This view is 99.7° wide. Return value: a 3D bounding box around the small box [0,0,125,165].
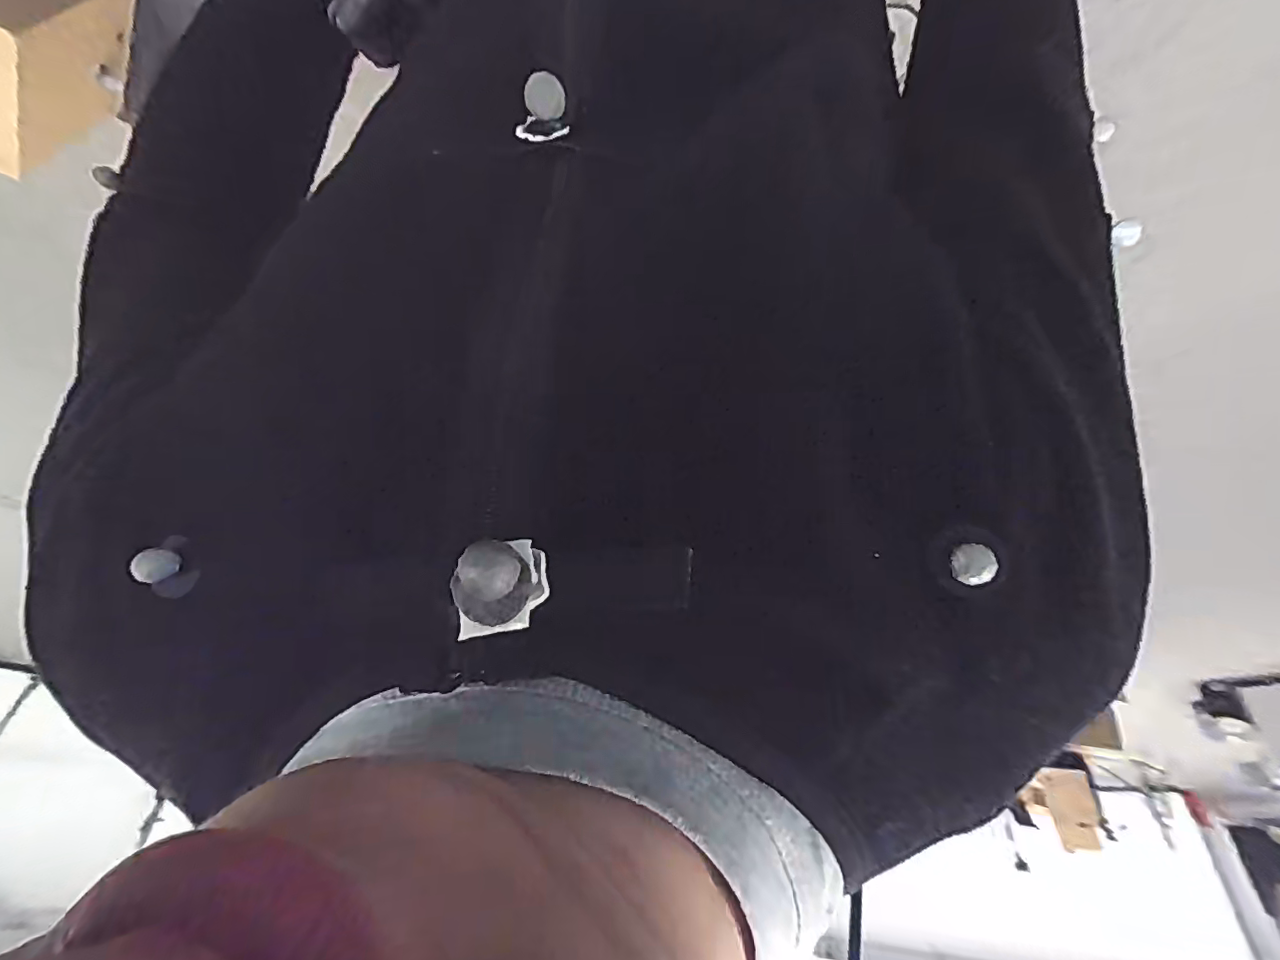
[{"bbox_3d":[-0.598,-0.422,0.456,0.179,0.176,0.168,31,137,-33],"label":"small box"}]
